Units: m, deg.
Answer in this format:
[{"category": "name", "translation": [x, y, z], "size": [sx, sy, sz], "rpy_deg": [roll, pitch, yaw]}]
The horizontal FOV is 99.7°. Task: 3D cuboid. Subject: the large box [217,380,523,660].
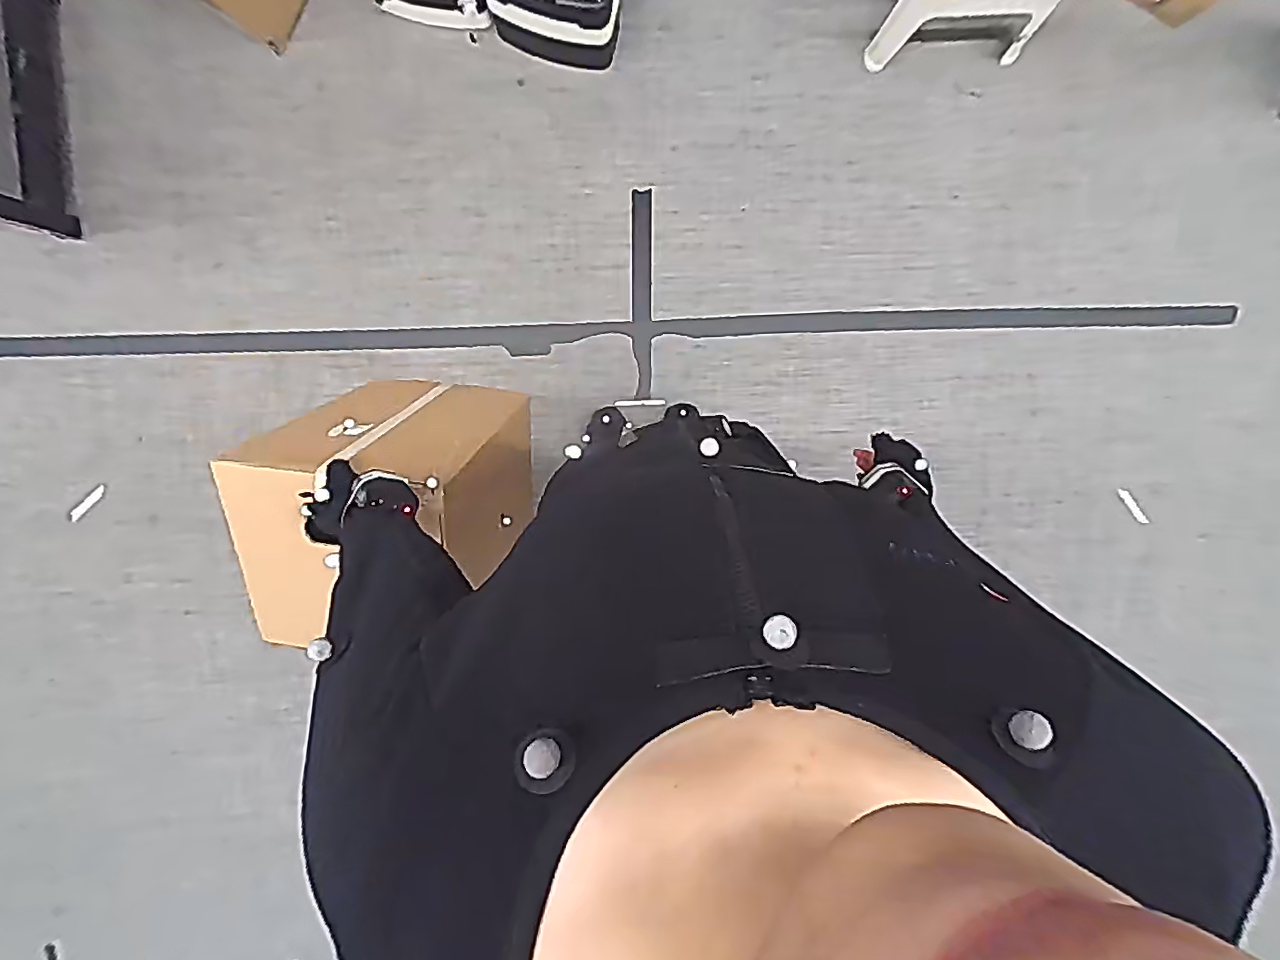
[{"category": "large box", "translation": [-0.406, 0.043, 0.949], "size": [0.320, 0.408, 0.320], "rpy_deg": [5, 118, 3]}]
